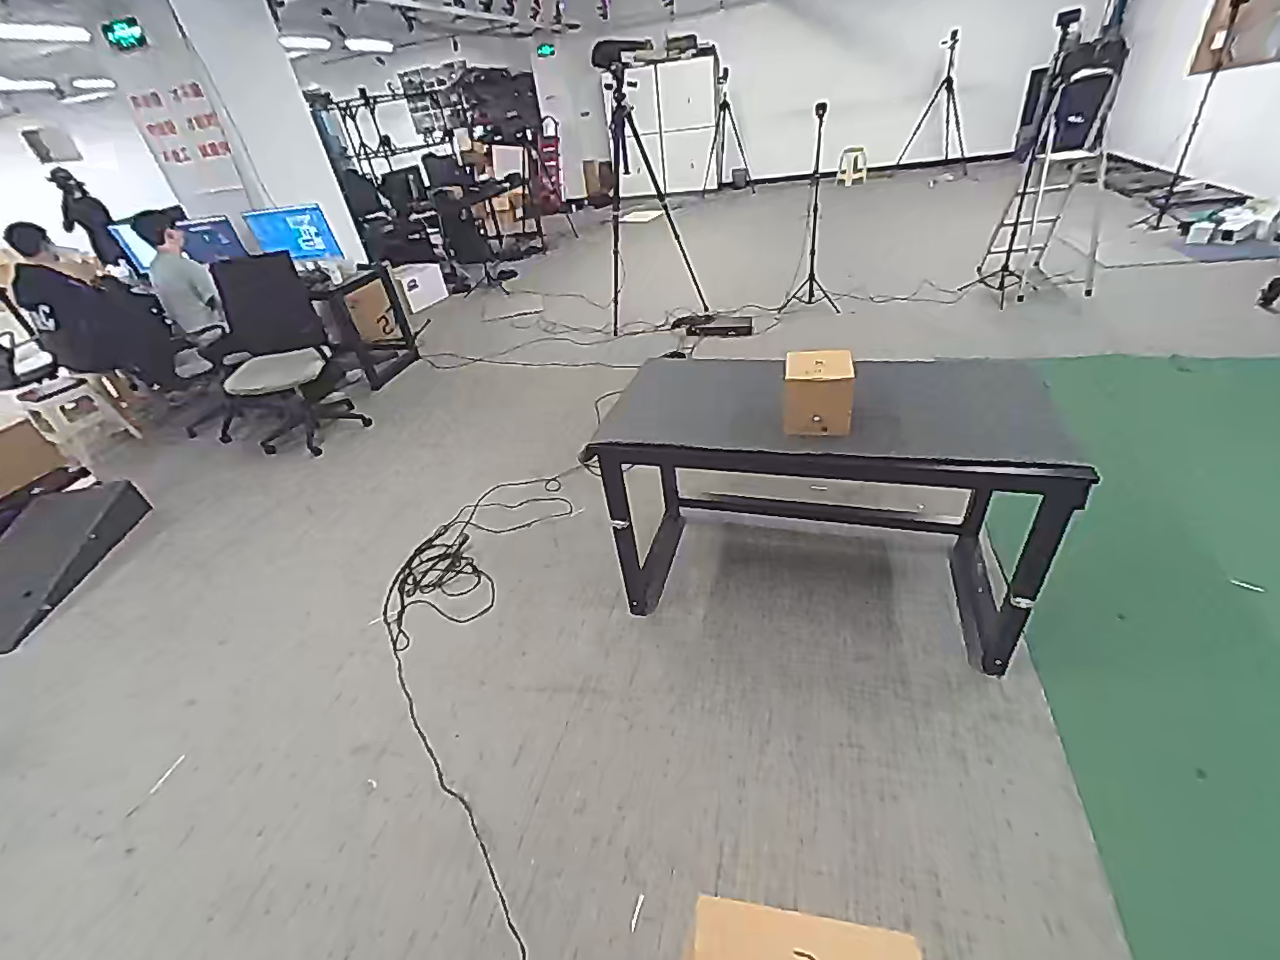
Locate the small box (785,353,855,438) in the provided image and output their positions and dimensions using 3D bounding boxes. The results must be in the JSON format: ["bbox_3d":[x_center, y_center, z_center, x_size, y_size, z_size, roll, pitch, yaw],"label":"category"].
[{"bbox_3d":[0.478,-0.229,1.450,0.168,0.176,0.179,1,35,16],"label":"small box"}]
